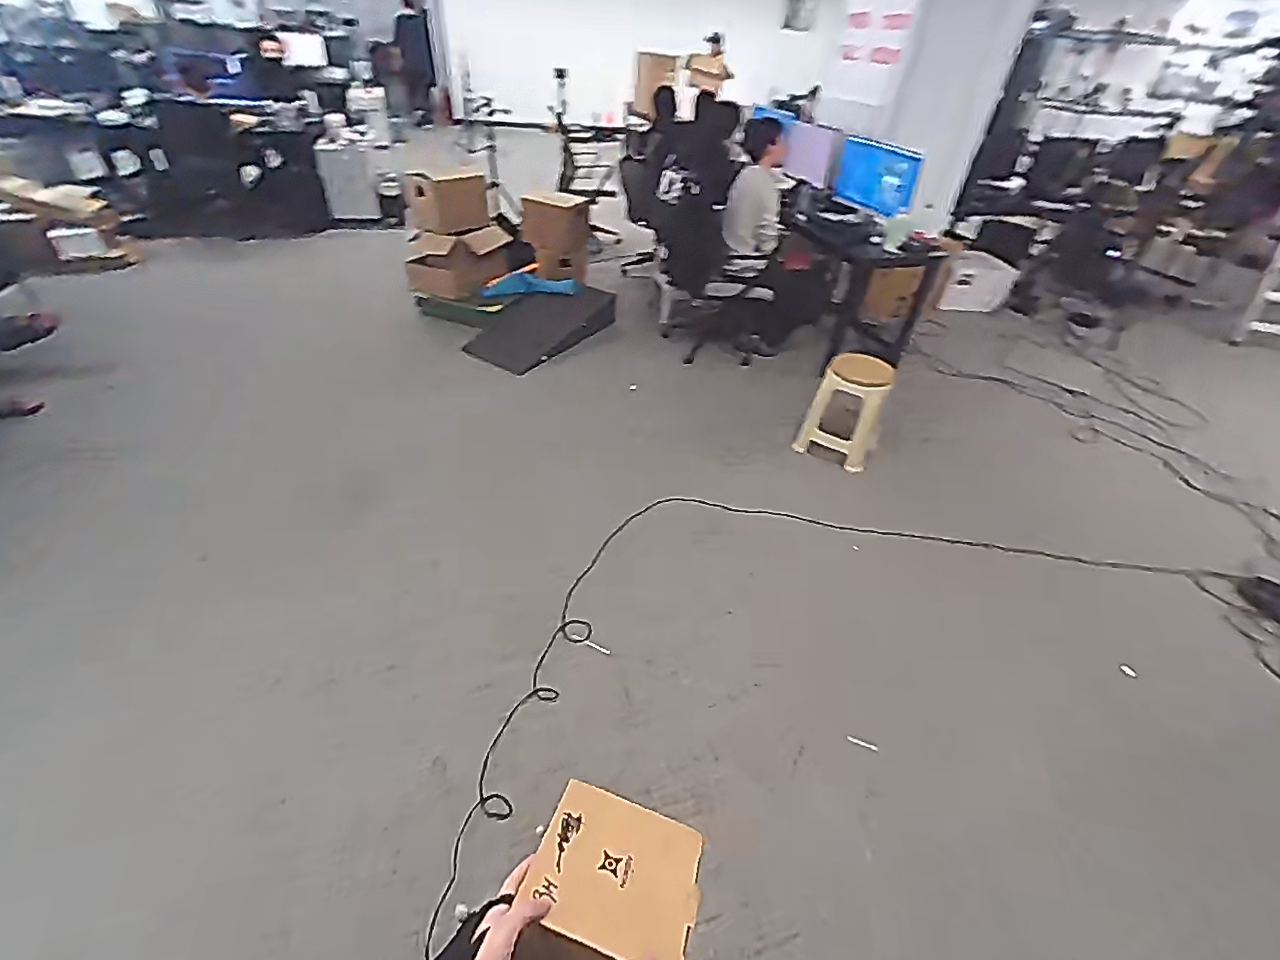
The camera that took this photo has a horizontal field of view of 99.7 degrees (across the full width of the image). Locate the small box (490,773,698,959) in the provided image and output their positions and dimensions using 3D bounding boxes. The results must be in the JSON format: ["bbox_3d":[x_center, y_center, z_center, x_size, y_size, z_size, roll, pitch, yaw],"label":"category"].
[{"bbox_3d":[-0.051,0.487,0.614,0.179,0.176,0.168,19,19,8],"label":"small box"}]
